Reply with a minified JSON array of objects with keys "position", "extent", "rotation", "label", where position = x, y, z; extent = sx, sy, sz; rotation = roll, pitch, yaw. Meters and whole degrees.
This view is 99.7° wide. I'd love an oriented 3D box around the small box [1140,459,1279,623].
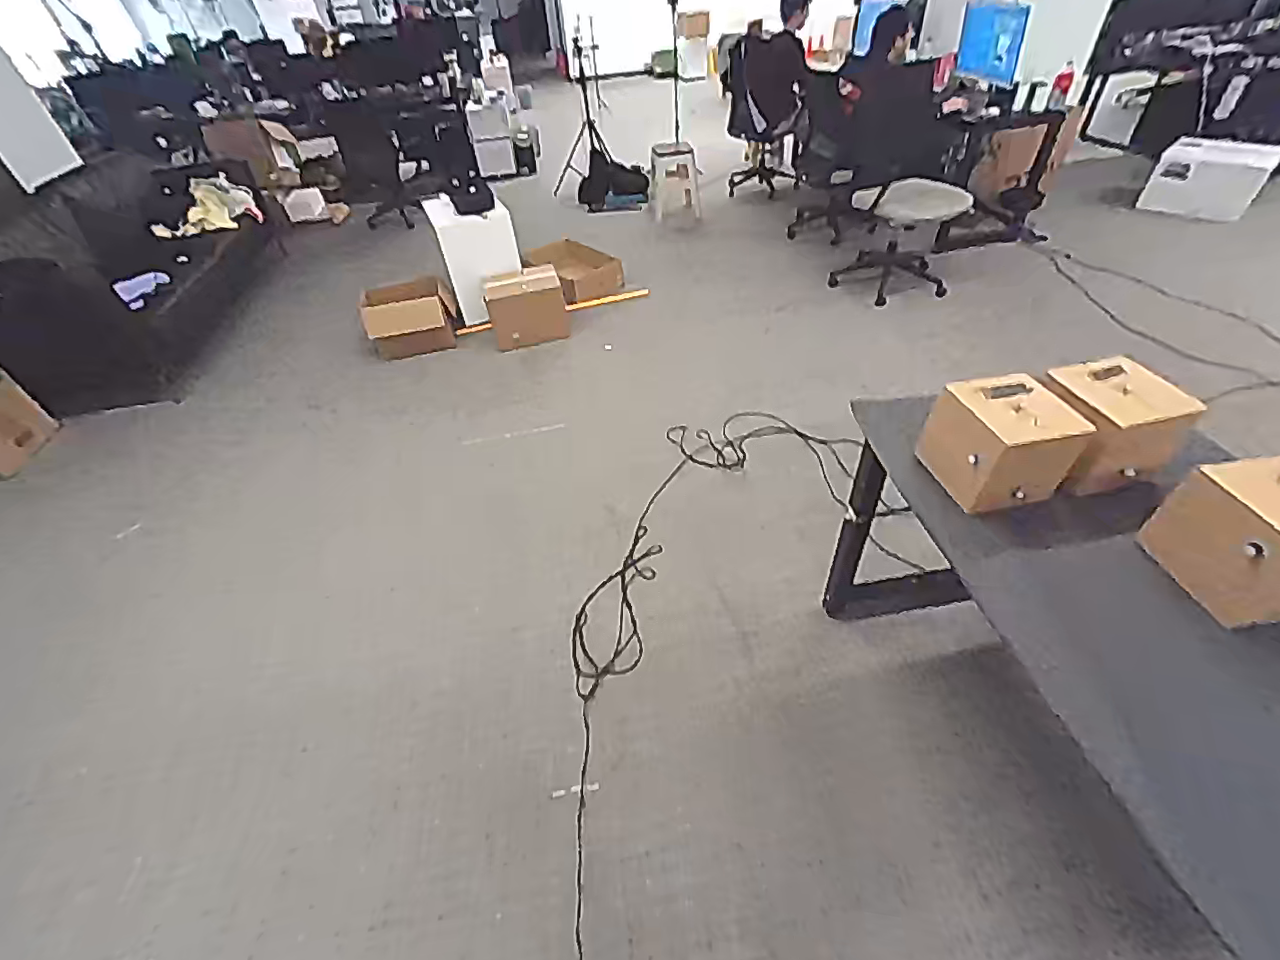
[{"position":[0.910,0.093,0.788],"extent":[0.168,0.176,0.179],"rotation":[-7,43,-1],"label":"small box"}]
